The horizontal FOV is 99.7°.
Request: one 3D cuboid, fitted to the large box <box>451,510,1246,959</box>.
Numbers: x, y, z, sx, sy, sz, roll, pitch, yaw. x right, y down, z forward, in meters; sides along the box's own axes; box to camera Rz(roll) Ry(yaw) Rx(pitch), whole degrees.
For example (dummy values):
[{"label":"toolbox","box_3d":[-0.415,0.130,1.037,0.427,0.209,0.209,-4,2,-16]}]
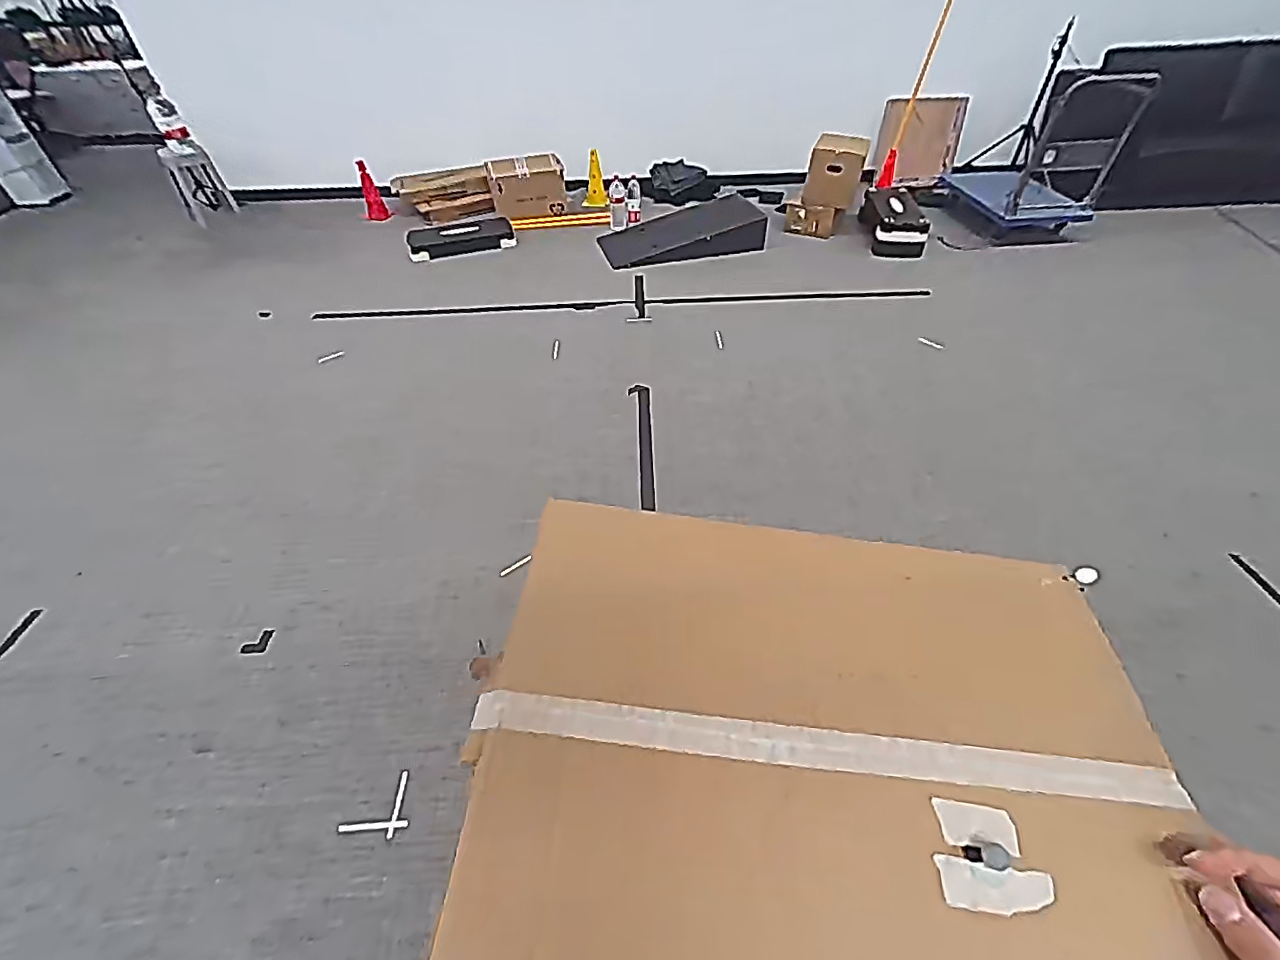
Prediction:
[{"label":"large box","box_3d":[0.100,0.258,0.433,0.408,0.320,0.320,8,49,-2]}]
